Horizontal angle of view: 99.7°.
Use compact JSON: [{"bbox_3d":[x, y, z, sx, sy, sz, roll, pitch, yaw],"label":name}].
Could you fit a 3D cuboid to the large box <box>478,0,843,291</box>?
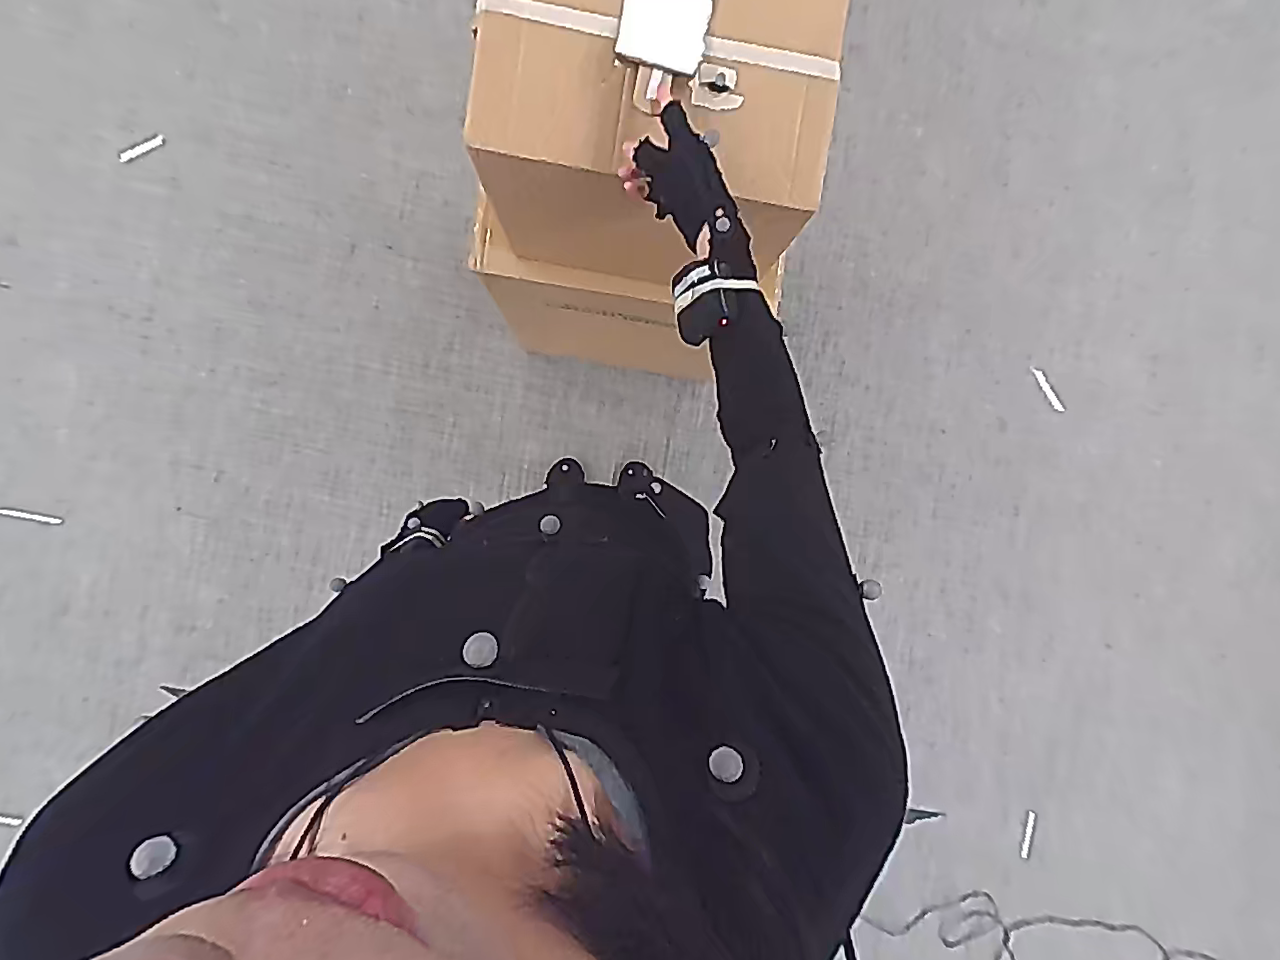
[{"bbox_3d":[0.019,-0.498,0.770,0.408,0.320,0.320,8,90,-5],"label":"large box"}]
